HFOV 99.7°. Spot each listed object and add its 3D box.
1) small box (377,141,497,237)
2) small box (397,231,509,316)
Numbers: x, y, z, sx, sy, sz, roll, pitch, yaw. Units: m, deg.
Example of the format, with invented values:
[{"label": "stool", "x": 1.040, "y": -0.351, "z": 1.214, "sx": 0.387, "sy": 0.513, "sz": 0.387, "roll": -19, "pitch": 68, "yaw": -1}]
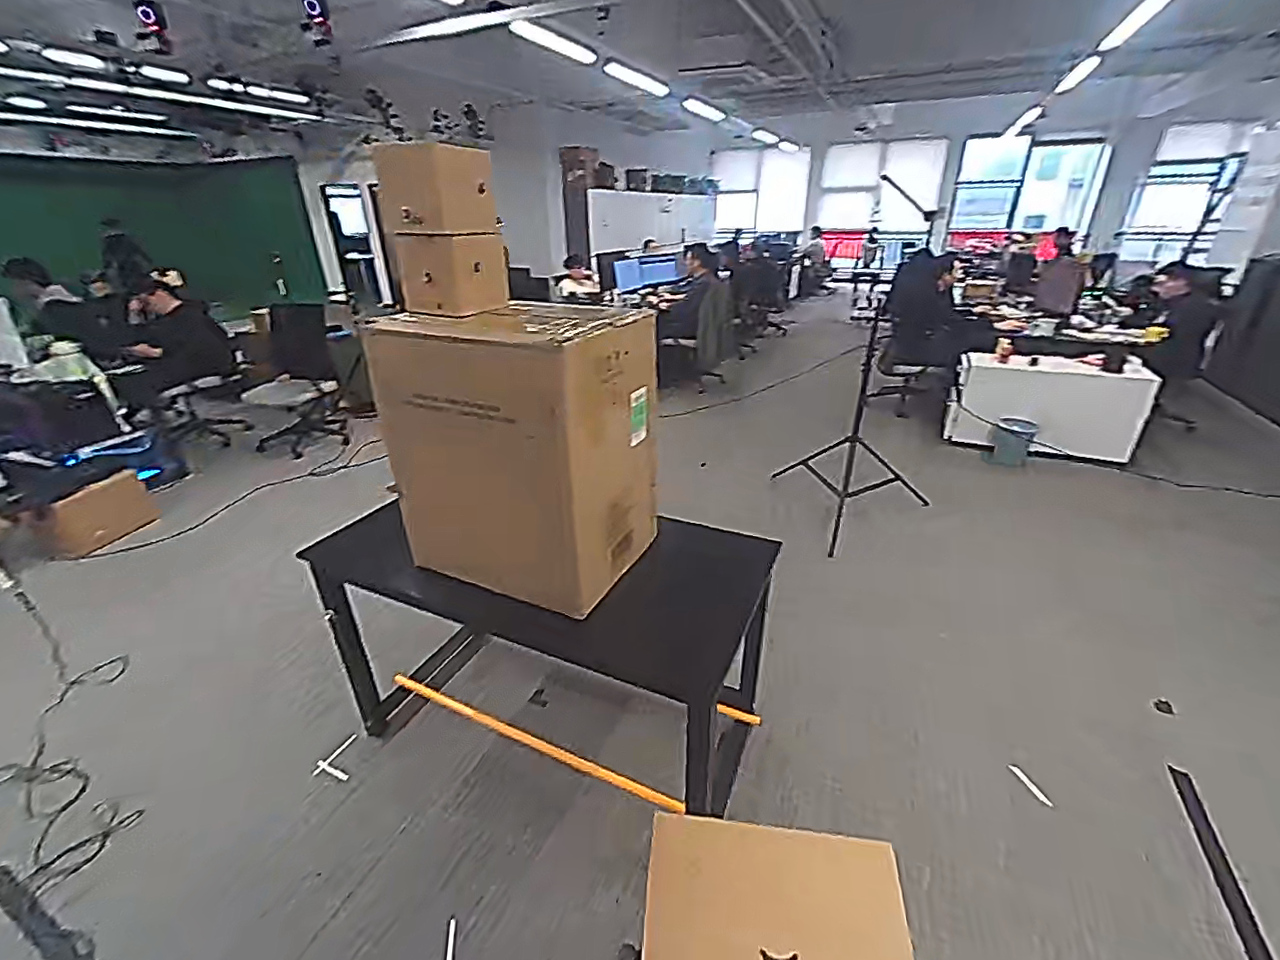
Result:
[{"label": "small box", "x": -0.428, "y": -0.622, "z": 1.167, "sx": 0.168, "sy": 0.176, "sz": 0.179, "roll": 10, "pitch": 28, "yaw": 22}, {"label": "small box", "x": -0.420, "y": -0.480, "z": 1.249, "sx": 0.168, "sy": 0.176, "sz": 0.179, "roll": 12, "pitch": 29, "yaw": 22}]
